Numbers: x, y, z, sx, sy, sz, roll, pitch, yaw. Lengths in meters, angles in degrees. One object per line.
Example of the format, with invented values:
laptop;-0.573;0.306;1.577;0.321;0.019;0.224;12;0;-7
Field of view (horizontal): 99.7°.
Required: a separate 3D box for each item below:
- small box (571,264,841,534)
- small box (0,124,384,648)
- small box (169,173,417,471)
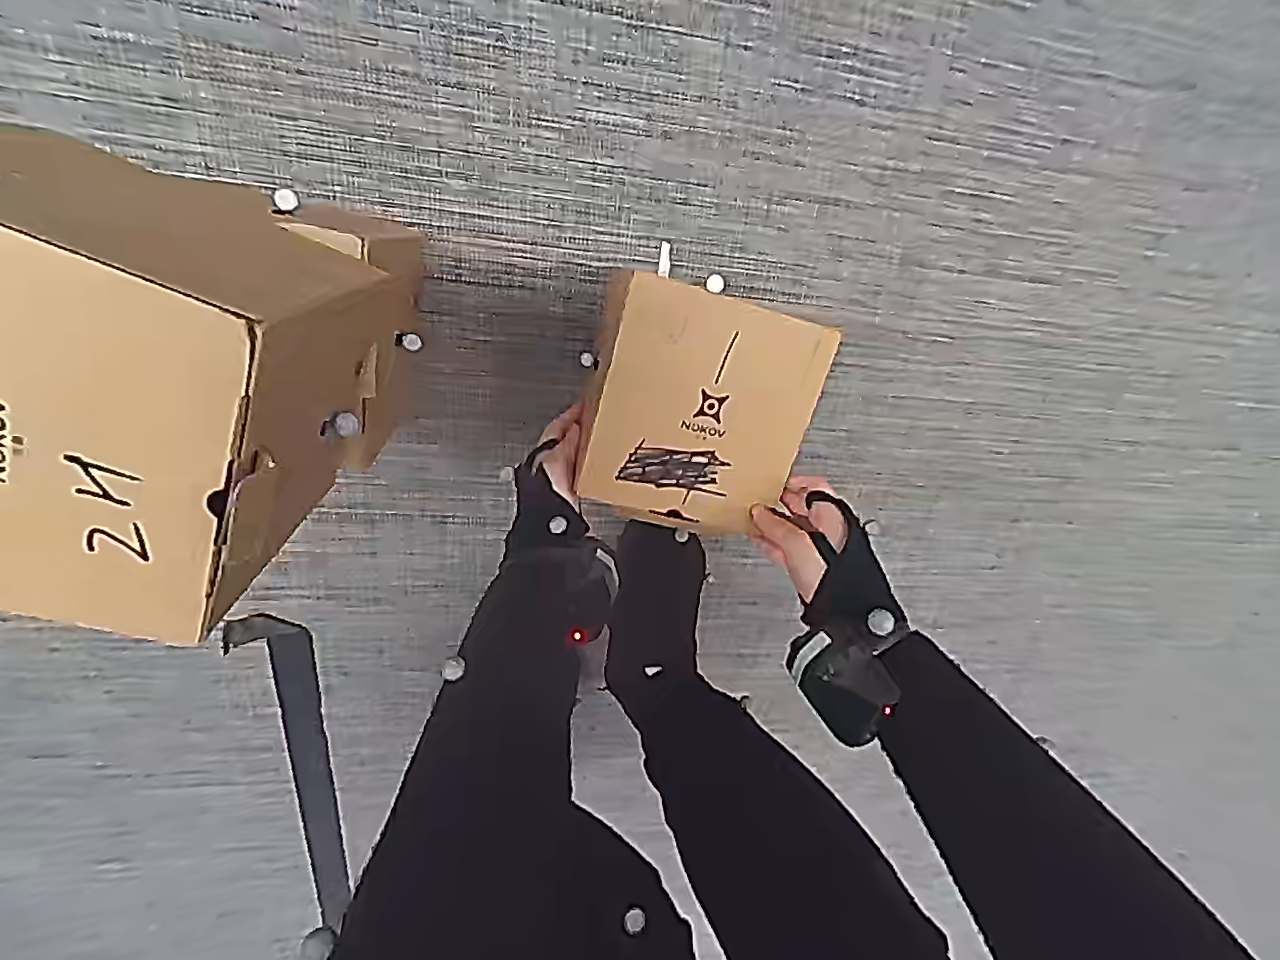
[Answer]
small box;0.039;-0.079;0.479;0.168;0.176;0.179;12;110;-12
small box;-0.256;-0.054;0.264;0.179;0.176;0.168;20;112;-18
small box;-0.278;-0.125;0.412;0.179;0.176;0.168;8;115;-14
